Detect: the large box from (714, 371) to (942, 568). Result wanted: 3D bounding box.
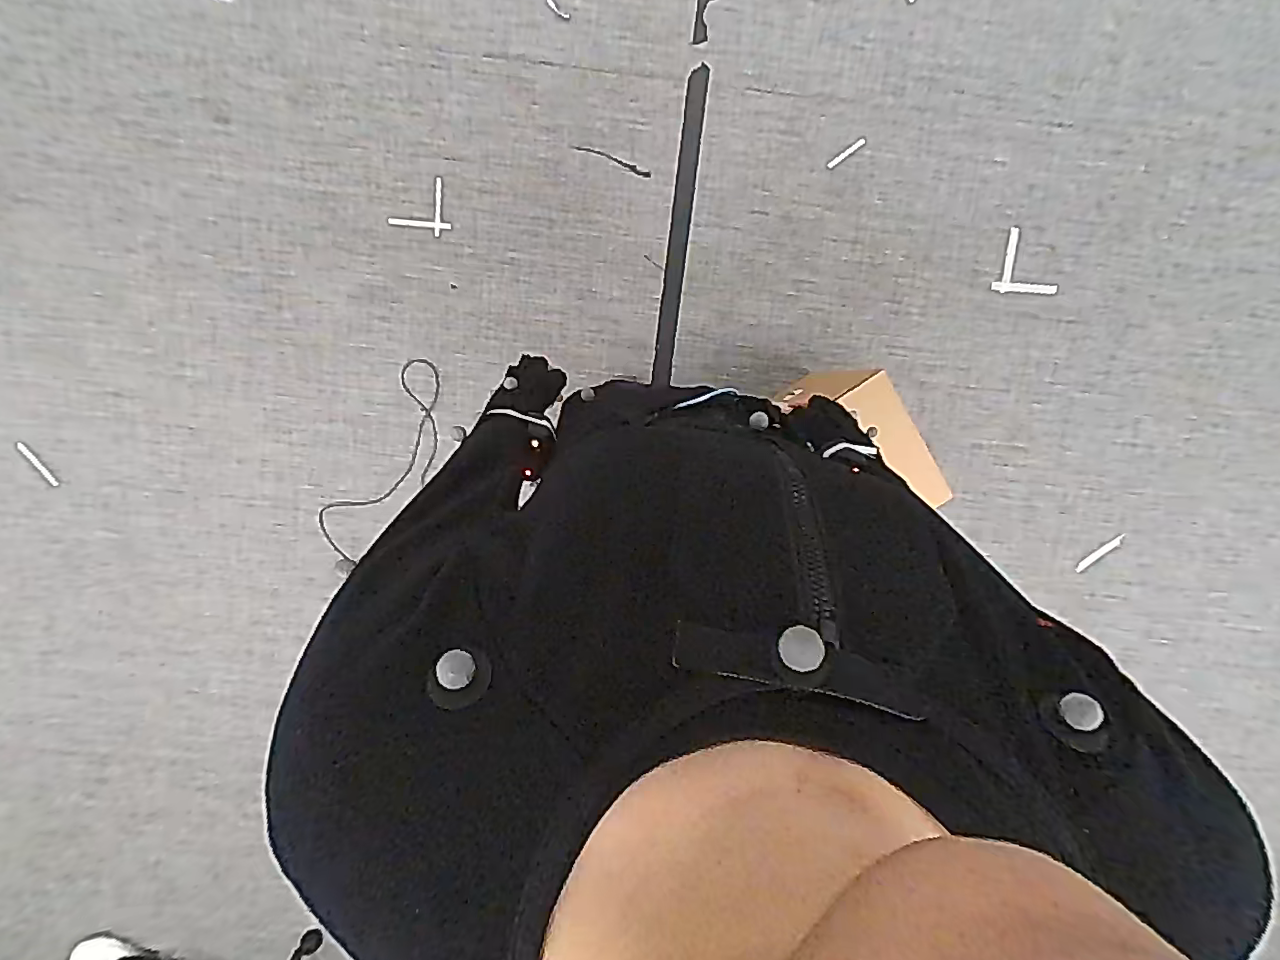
[{"bbox_3d":[0.420,-0.043,1.301,0.320,0.408,0.320,-32,99,3],"label":"large box"}]
